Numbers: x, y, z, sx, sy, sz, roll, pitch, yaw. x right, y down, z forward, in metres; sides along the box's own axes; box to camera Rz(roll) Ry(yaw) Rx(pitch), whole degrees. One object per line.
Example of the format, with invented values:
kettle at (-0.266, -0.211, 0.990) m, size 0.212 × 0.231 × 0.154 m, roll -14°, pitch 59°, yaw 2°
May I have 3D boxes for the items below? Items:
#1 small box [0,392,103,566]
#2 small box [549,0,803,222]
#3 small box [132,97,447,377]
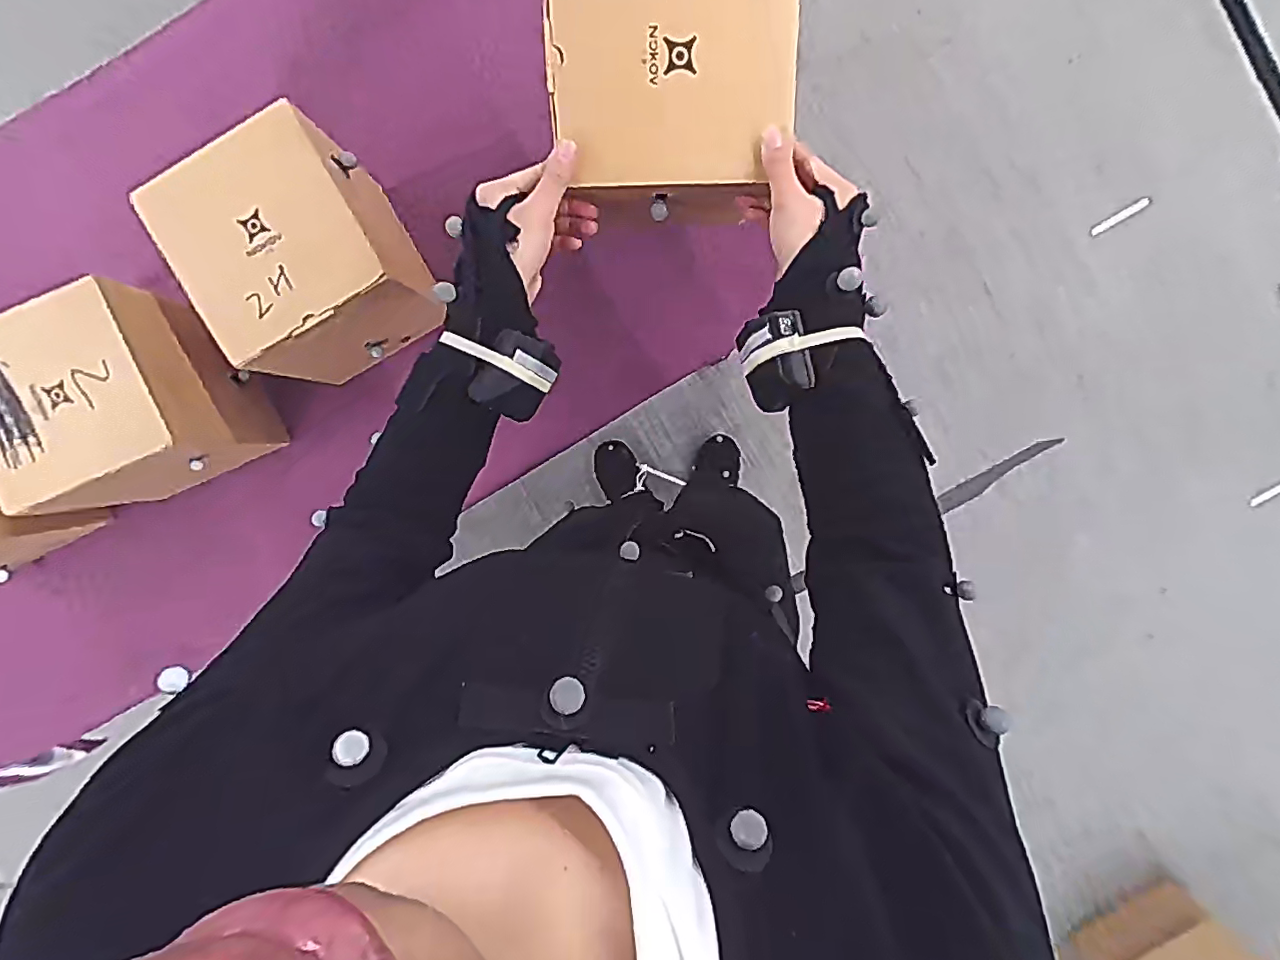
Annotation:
small box at (-0.749, 0.009, 0.574) m, size 0.168 × 0.176 × 0.179 m, roll -25°, pitch 94°, yaw 2°
small box at (0.024, -0.321, 0.453) m, size 0.179 × 0.176 × 0.168 m, roll -1°, pitch 106°, yaw 0°
small box at (-0.332, -0.224, 0.553) m, size 0.168 × 0.176 × 0.179 m, roll -29°, pitch 94°, yaw 3°
